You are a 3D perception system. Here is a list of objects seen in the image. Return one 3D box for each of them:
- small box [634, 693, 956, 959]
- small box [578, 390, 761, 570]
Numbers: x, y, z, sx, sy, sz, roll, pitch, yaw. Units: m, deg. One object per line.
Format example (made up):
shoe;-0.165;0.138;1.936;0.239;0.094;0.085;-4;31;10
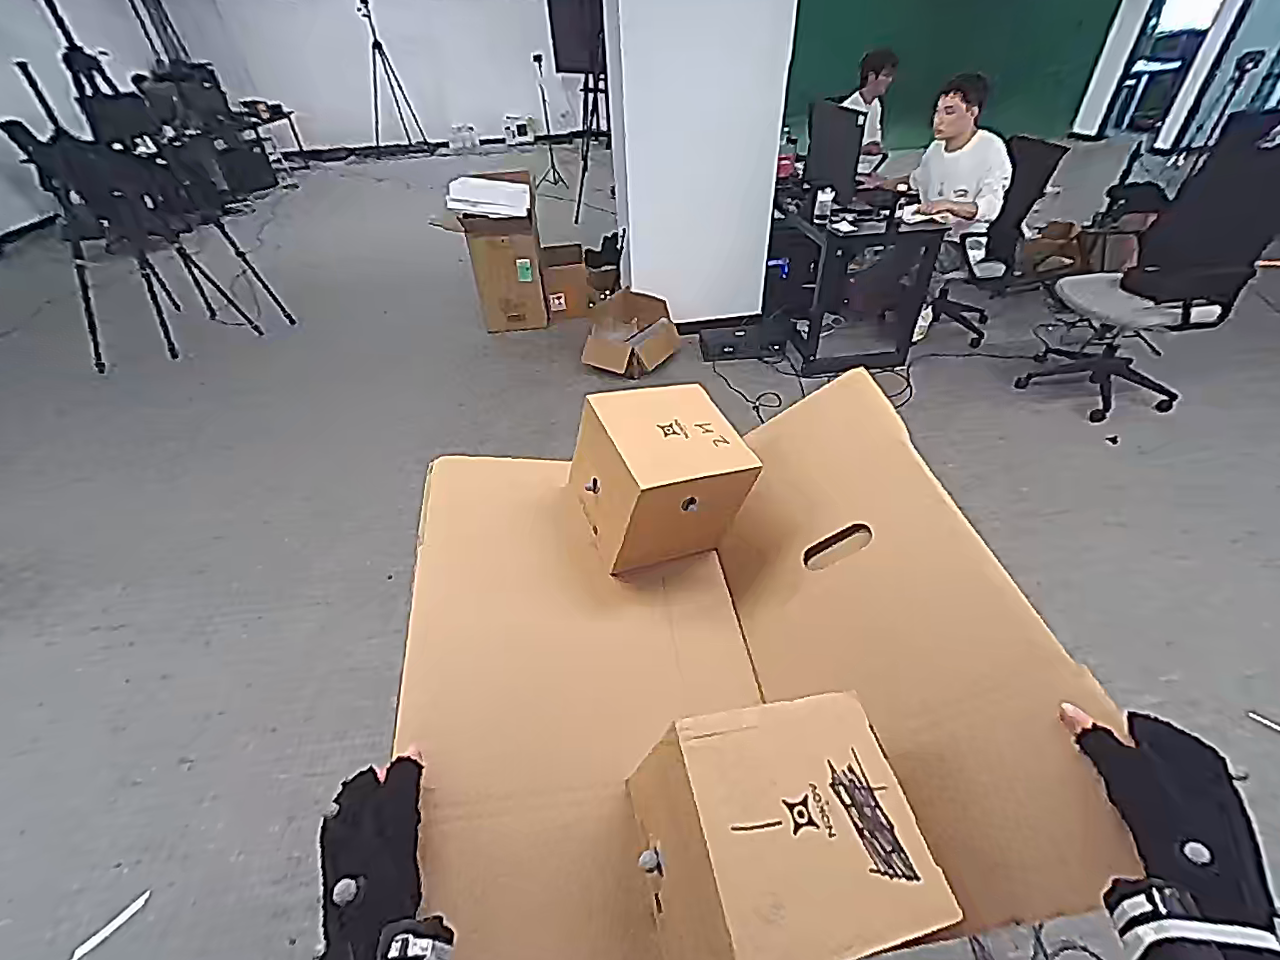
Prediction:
small box;0.108;0.303;0.461;0.179;0.176;0.168;-1;48;-18
small box;0.025;0.000;0.728;0.179;0.176;0.168;-10;51;-27
